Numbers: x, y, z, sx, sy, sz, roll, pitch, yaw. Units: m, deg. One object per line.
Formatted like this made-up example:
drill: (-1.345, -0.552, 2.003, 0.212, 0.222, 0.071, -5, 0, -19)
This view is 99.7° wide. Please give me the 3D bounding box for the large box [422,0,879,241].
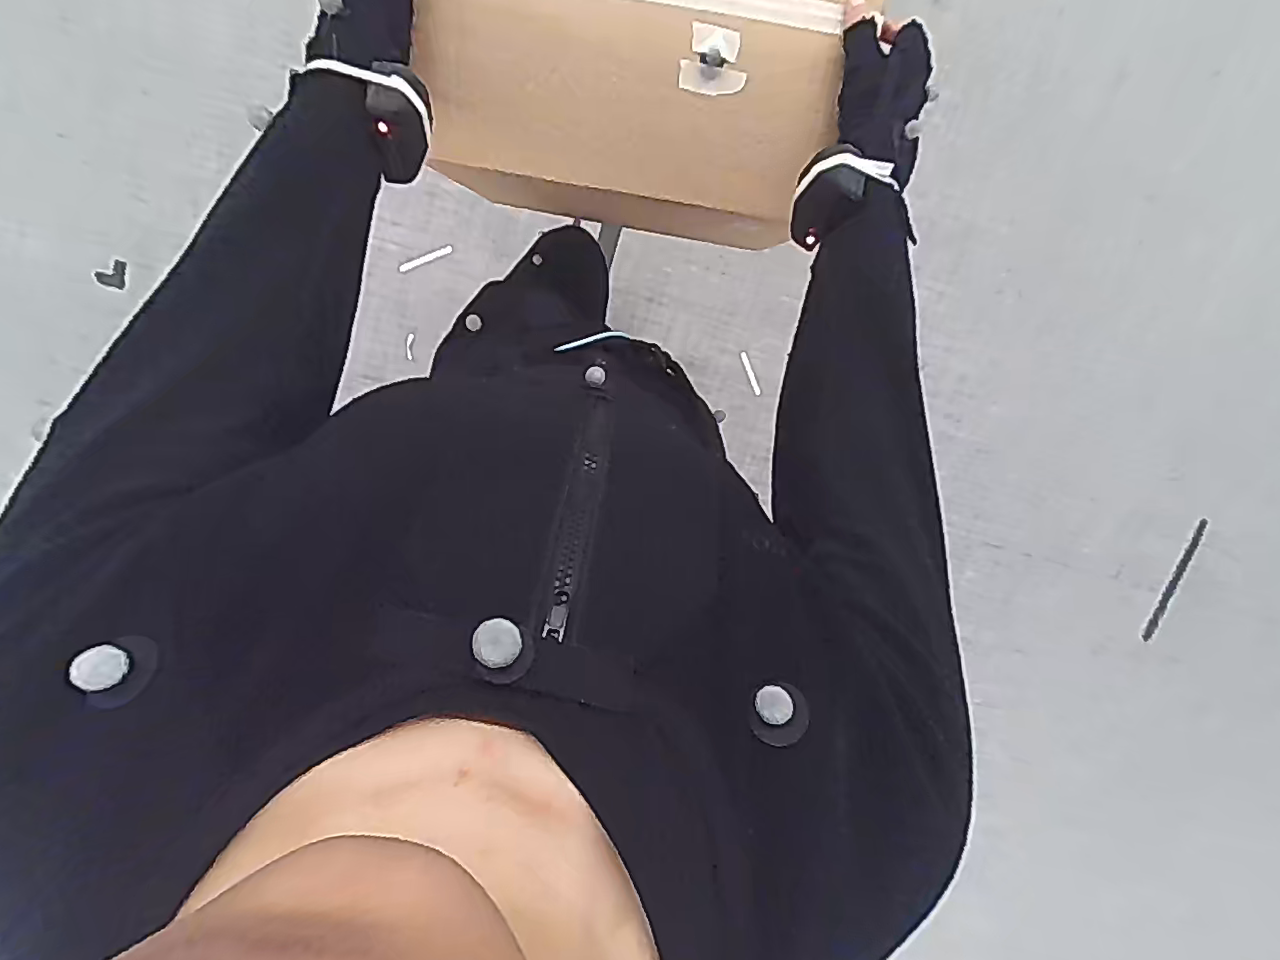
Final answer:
large box: (0.008, -0.477, 0.612, 0.408, 0.320, 0.320, 8, 110, -4)
